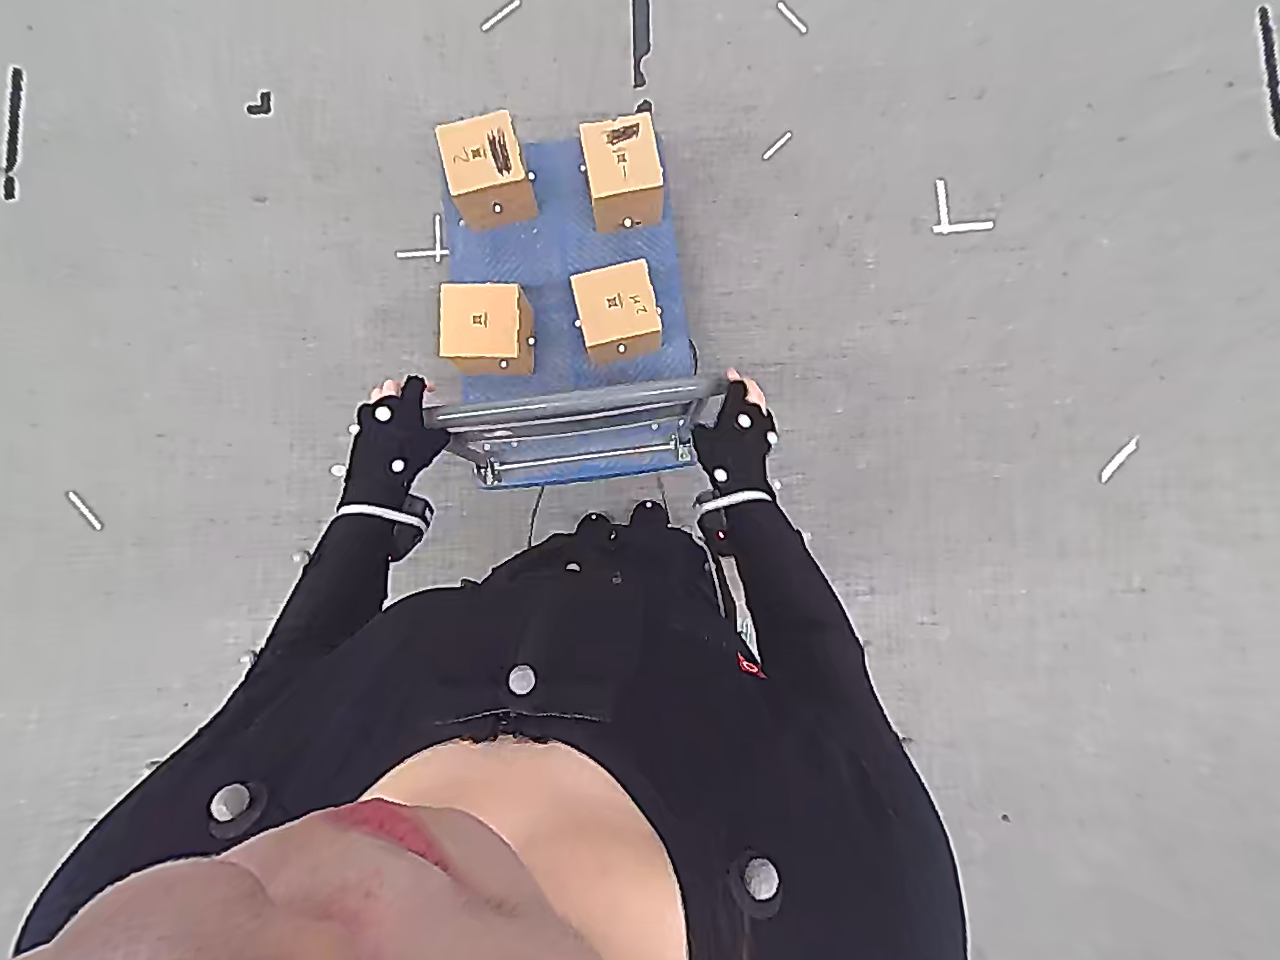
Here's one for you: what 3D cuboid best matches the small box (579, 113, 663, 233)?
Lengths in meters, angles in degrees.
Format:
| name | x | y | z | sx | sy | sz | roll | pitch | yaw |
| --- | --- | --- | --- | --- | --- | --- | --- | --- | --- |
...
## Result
| name | x | y | z | sx | sy | sz | roll | pitch | yaw |
| --- | --- | --- | --- | --- | --- | --- | --- | --- | --- |
| small box | -0.044 | -0.722 | 1.286 | 0.168 | 0.176 | 0.179 | -11 | 88 | 0 |

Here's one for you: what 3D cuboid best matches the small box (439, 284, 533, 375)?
| name | x | y | z | sx | sy | sz | roll | pitch | yaw |
| --- | --- | --- | --- | --- | --- | --- | --- | --- | --- |
| small box | -0.356 | -0.346 | 1.271 | 0.179 | 0.176 | 0.168 | -1 | 87 | -1 |

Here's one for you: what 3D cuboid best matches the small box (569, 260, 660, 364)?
| name | x | y | z | sx | sy | sz | roll | pitch | yaw |
| --- | --- | --- | --- | --- | --- | --- | --- | --- | --- |
| small box | -0.054 | -0.385 | 1.270 | 0.179 | 0.176 | 0.168 | -13 | 88 | 0 |
